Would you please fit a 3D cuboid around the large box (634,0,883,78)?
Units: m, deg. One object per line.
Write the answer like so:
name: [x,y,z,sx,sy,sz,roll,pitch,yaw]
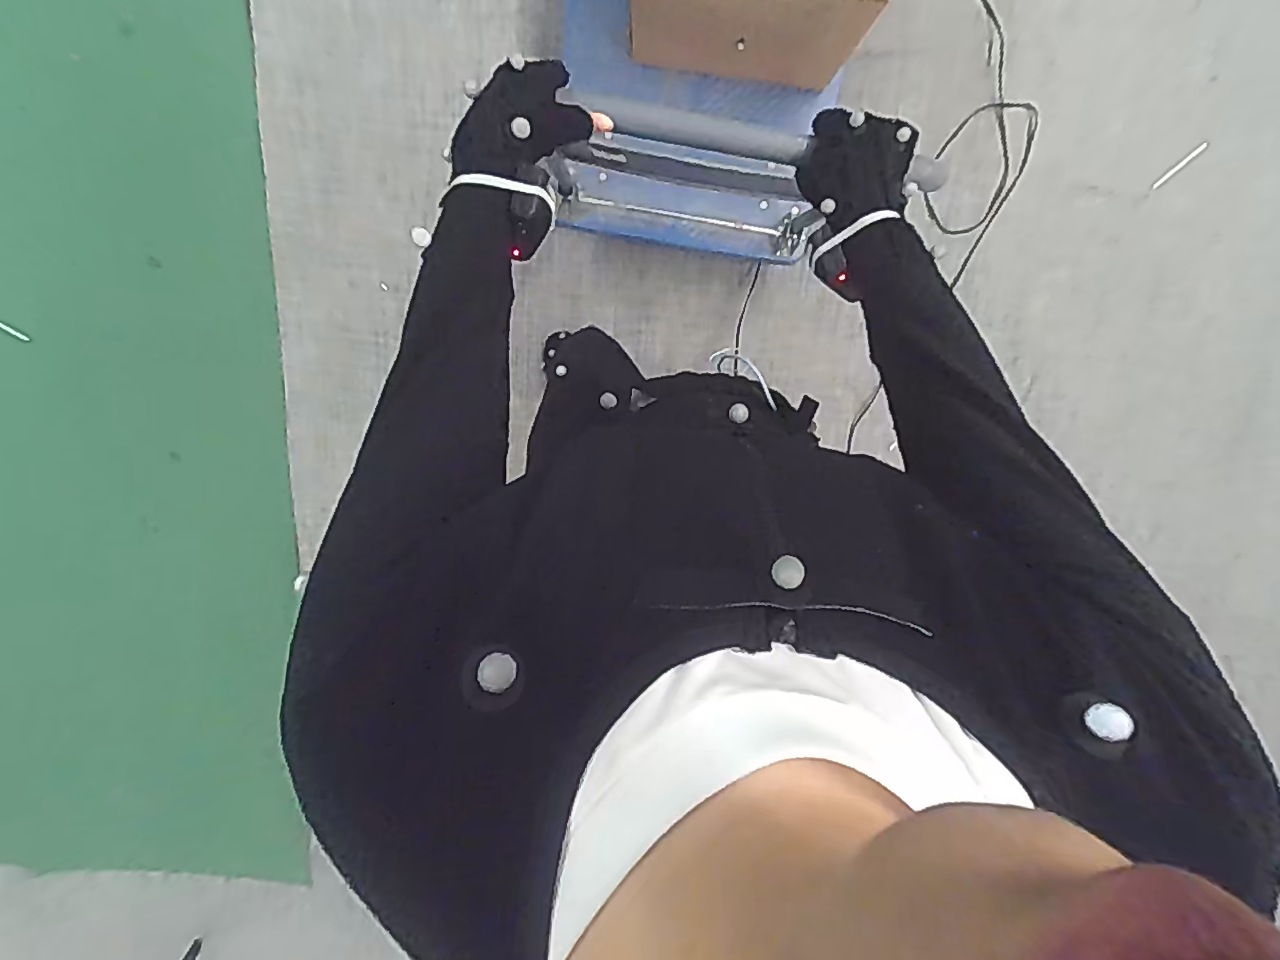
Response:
large box: [0.206,-0.950,0.935,0.408,0.320,0.320,6,105,0]
